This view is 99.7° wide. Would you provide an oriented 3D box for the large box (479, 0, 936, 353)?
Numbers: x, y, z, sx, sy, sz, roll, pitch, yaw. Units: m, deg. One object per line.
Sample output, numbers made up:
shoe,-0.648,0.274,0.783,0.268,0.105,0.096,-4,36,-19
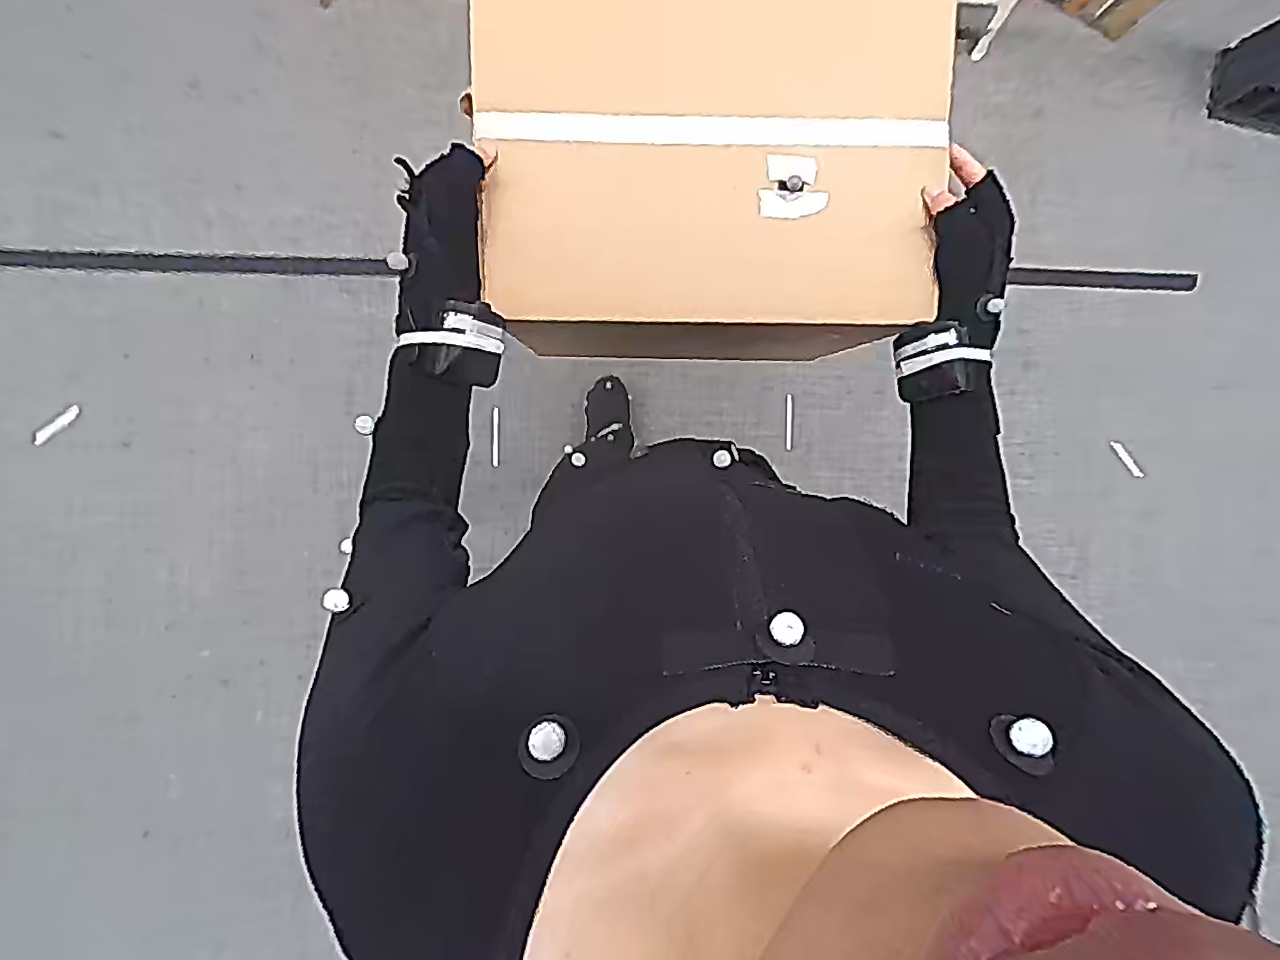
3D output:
large box,0.054,-0.323,0.625,0.408,0.320,0.320,0,97,-3
